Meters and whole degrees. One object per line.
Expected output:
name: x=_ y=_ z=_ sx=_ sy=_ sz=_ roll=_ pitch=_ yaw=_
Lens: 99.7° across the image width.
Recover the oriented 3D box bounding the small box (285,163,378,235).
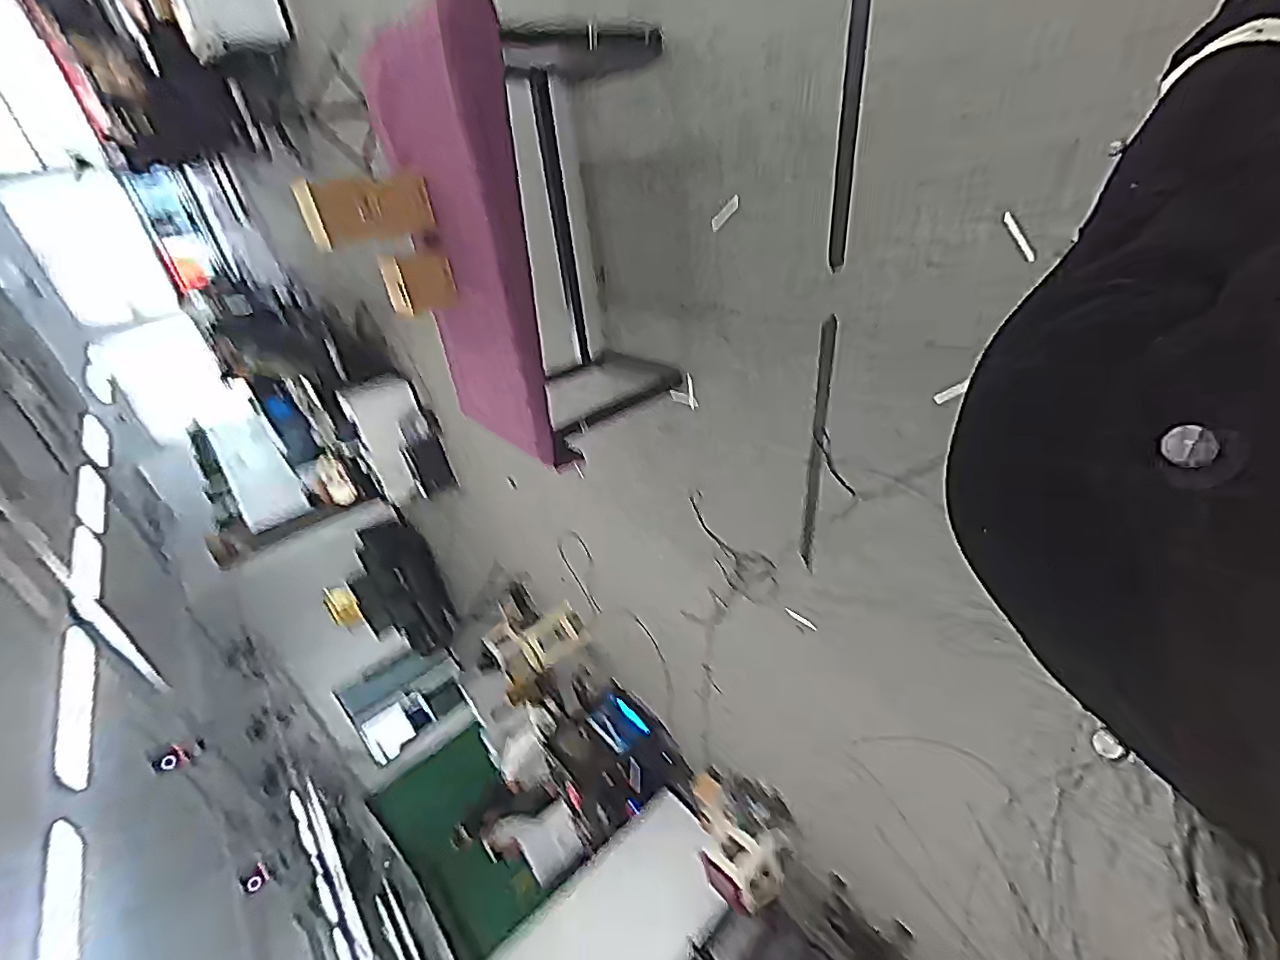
small box: x=-0.906 y=-0.830 z=1.598 sx=0.179 sy=0.176 sz=0.168 roll=24 pitch=134 yaw=42

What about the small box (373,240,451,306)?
small box: x=-0.748 y=-0.692 z=1.795 sx=0.179 sy=0.176 sz=0.168 roll=27 pitch=135 yaw=41

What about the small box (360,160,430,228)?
small box: x=-0.783 y=-0.892 z=1.684 sx=0.179 sy=0.176 sz=0.168 roll=27 pitch=136 yaw=40
